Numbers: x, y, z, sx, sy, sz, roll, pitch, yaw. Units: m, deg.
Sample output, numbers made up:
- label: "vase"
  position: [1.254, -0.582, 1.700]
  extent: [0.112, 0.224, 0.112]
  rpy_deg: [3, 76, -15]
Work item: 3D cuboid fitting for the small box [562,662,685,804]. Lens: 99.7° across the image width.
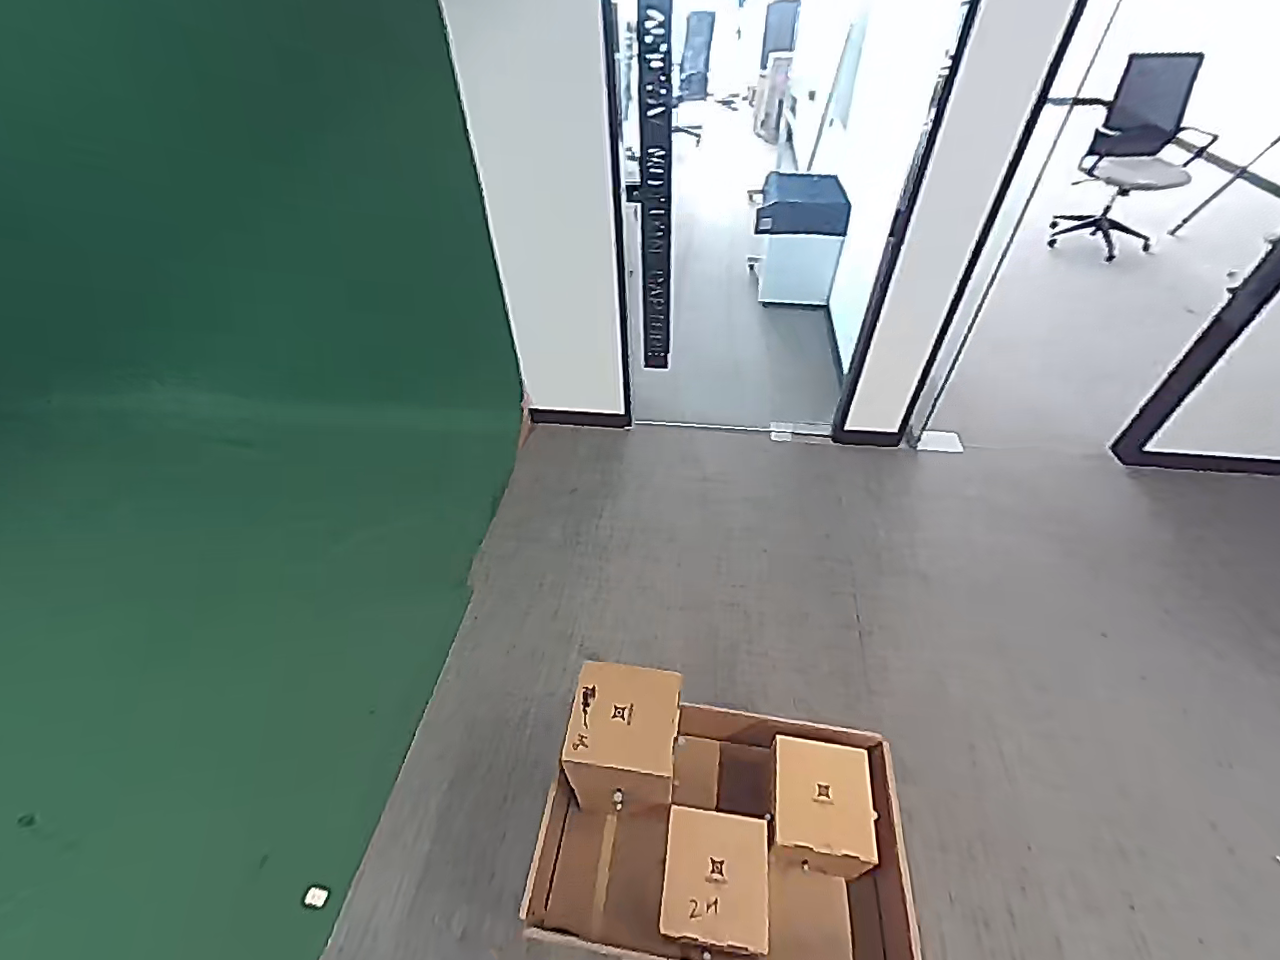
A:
- label: "small box"
  position: [-0.022, 0.440, 0.936]
  extent: [0.179, 0.176, 0.168]
  rpy_deg: [7, 46, 7]
